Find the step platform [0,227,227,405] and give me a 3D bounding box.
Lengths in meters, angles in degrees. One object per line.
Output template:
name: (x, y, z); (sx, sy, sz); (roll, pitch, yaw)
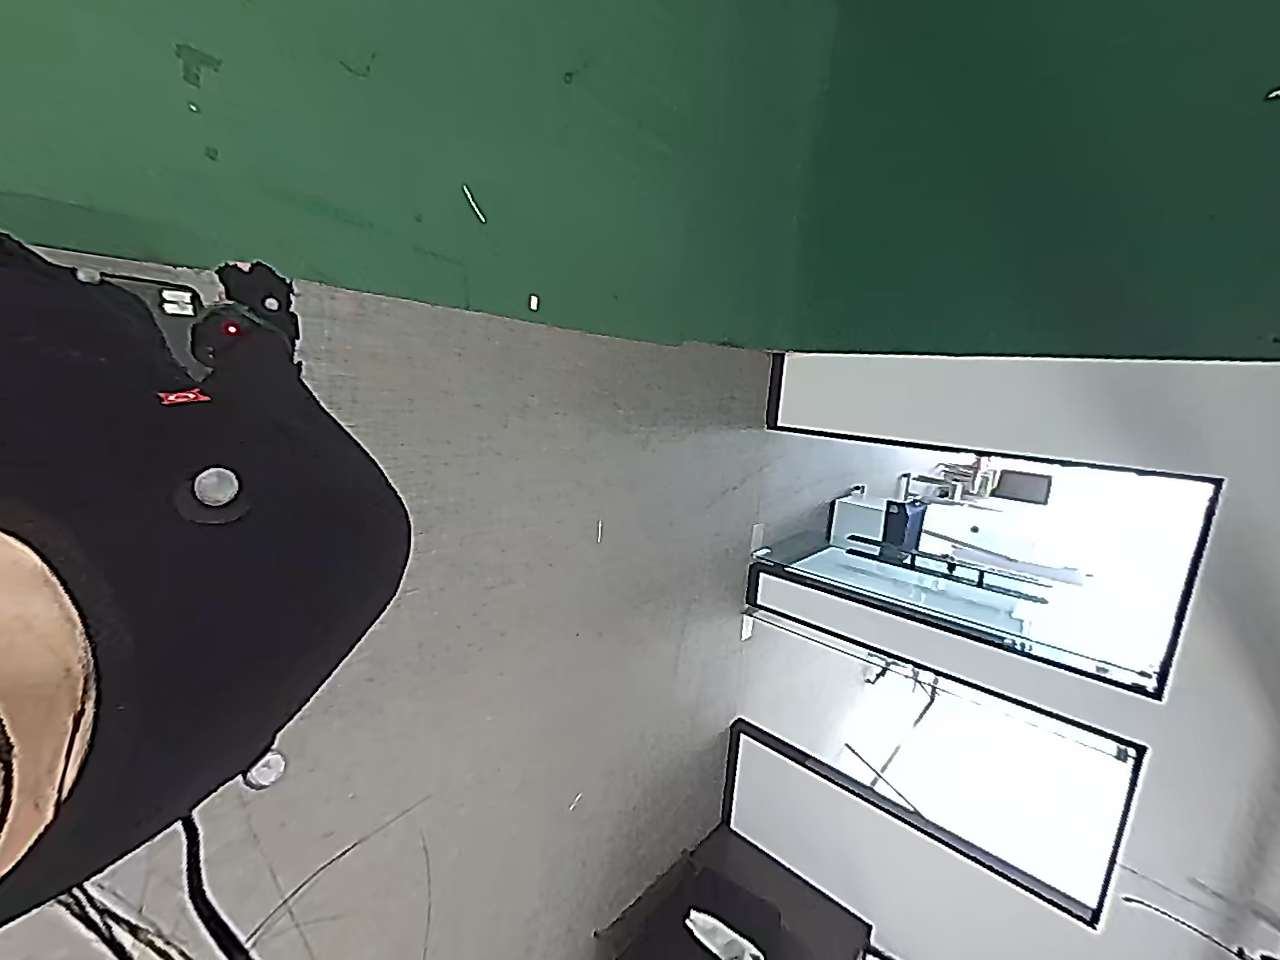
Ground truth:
step platform: (-1.097, -0.274, 0.858); (0.684, 0.204, 0.286); (-7, 107, -47)
